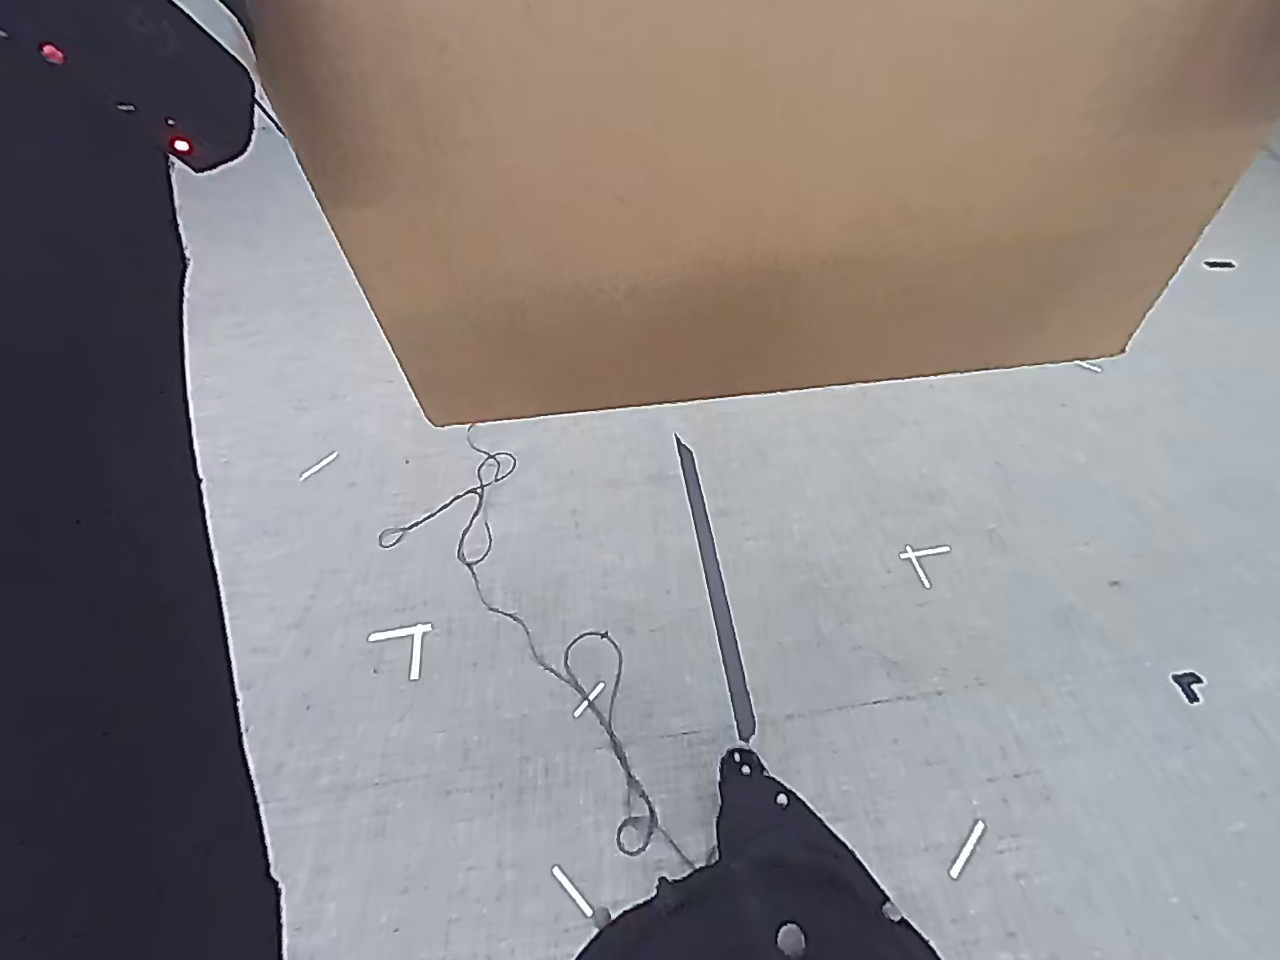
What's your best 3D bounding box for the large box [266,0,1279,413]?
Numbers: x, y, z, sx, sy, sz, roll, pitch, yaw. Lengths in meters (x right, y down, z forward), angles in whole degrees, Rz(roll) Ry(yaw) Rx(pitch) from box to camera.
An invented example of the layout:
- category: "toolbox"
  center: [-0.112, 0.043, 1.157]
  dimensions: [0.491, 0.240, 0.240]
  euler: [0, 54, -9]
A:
- category: "large box"
  center: [0.051, -0.268, 0.322]
  dimensions: [0.408, 0.320, 0.320]
  euler: [-6, 47, -1]
